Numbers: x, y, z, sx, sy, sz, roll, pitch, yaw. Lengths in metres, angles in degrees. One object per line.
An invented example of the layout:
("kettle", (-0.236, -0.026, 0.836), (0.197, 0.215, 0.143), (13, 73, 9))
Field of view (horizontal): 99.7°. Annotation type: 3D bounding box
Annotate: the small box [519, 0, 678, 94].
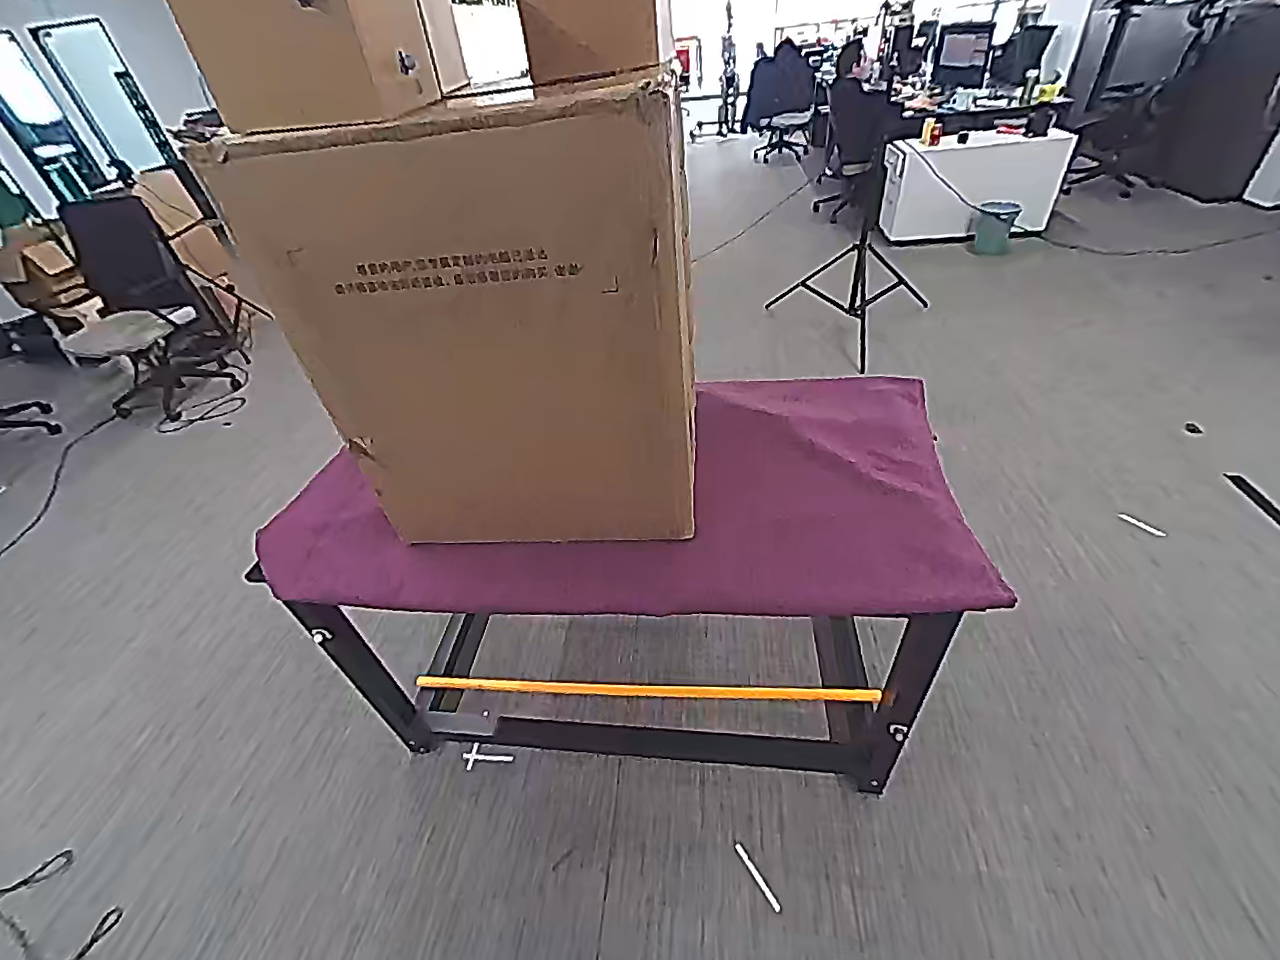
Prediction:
("small box", (-0.048, -0.622, 0.703), (0.179, 0.176, 0.168), (1, 41, 12))
